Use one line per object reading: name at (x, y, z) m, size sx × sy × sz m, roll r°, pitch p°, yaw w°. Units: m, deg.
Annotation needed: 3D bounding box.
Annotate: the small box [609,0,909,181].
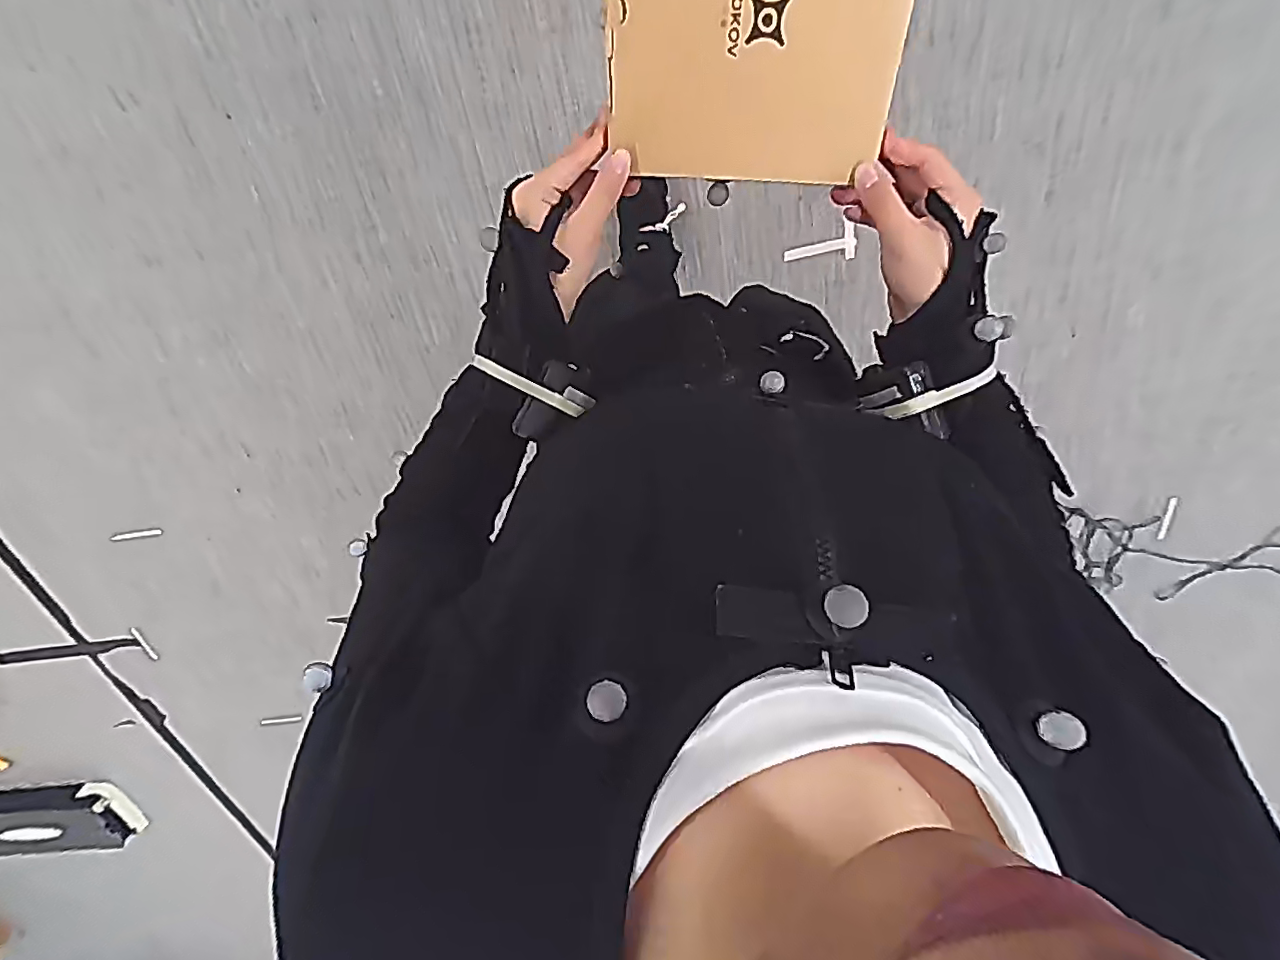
small box at (0.069, -0.315, 0.385) m, size 0.179 × 0.176 × 0.168 m, roll 2°, pitch 121°, yaw -1°
